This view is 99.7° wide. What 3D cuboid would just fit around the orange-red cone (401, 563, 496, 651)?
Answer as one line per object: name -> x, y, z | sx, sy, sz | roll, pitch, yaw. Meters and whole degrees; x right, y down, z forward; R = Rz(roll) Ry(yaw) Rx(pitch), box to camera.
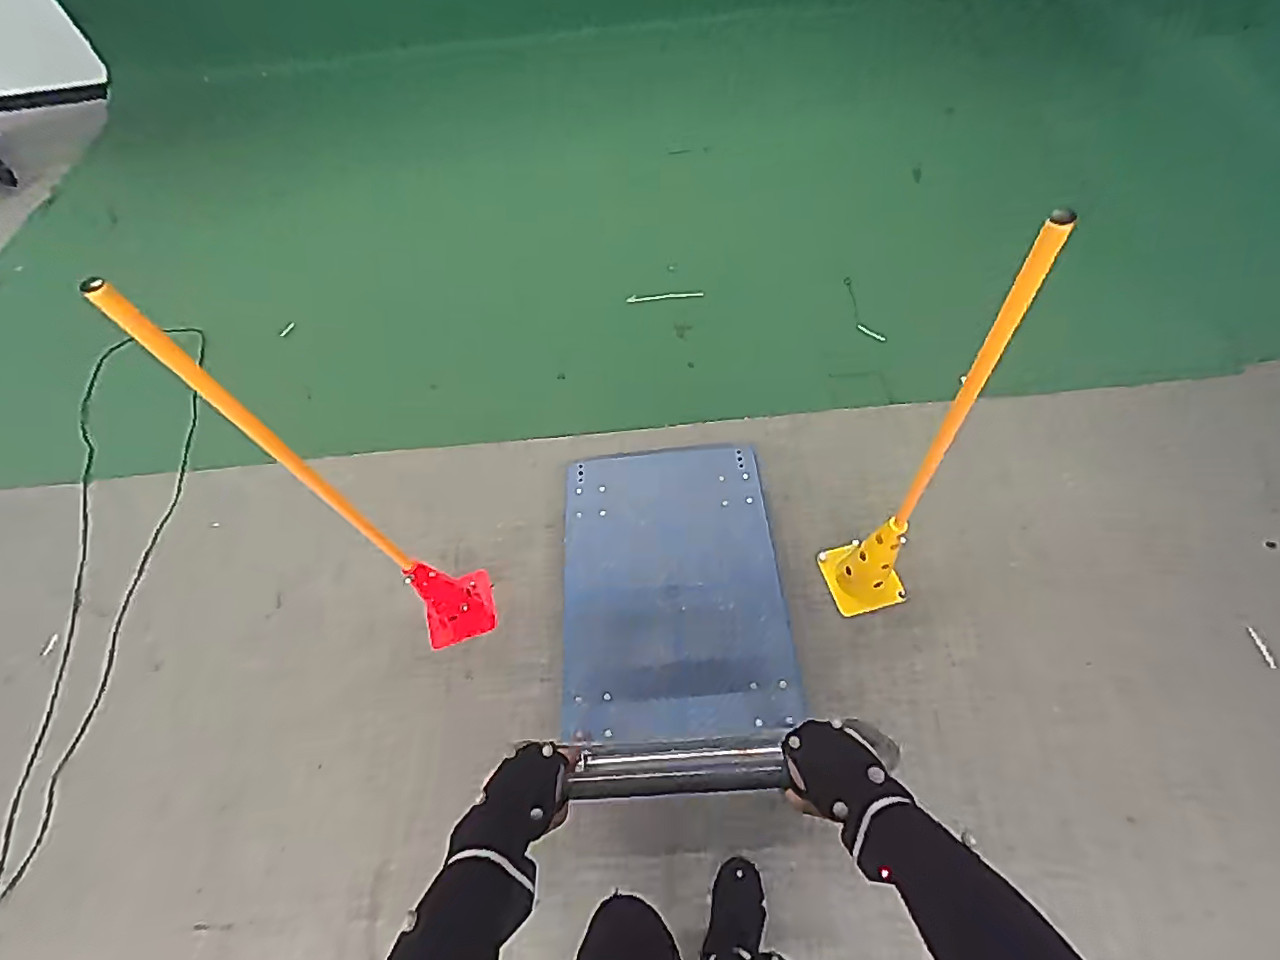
orange-red cone -> -0.553, 0.310, 1.472 | 0.199, 0.360, 0.198 | -18, 59, -4
